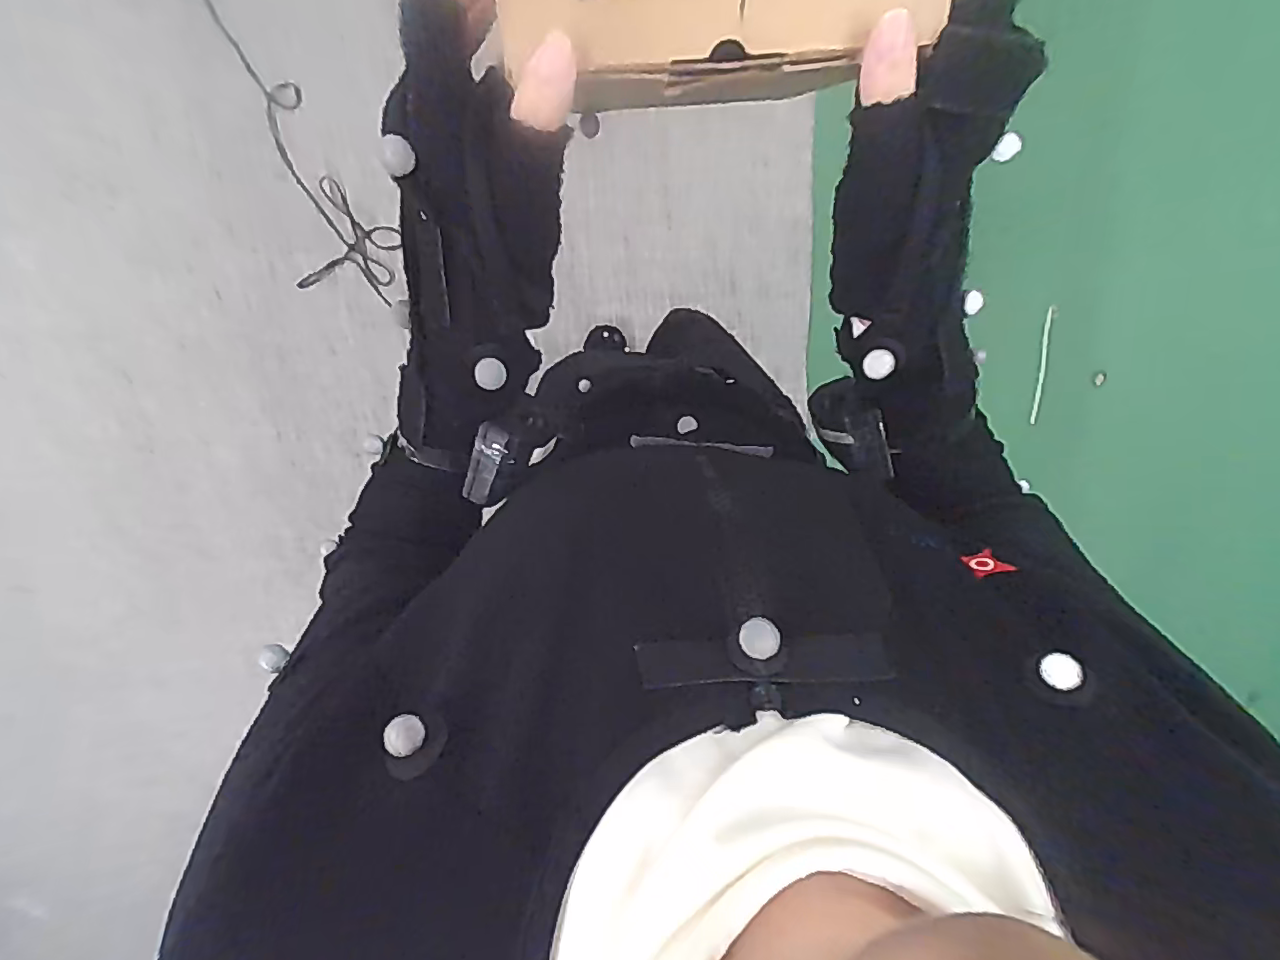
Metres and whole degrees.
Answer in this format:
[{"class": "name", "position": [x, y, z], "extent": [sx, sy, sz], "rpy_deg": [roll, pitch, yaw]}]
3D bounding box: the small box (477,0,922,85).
[{"class": "small box", "position": [0.013, -0.279, 0.224], "extent": [0.168, 0.176, 0.179], "rpy_deg": [-6, 120, -3]}]
